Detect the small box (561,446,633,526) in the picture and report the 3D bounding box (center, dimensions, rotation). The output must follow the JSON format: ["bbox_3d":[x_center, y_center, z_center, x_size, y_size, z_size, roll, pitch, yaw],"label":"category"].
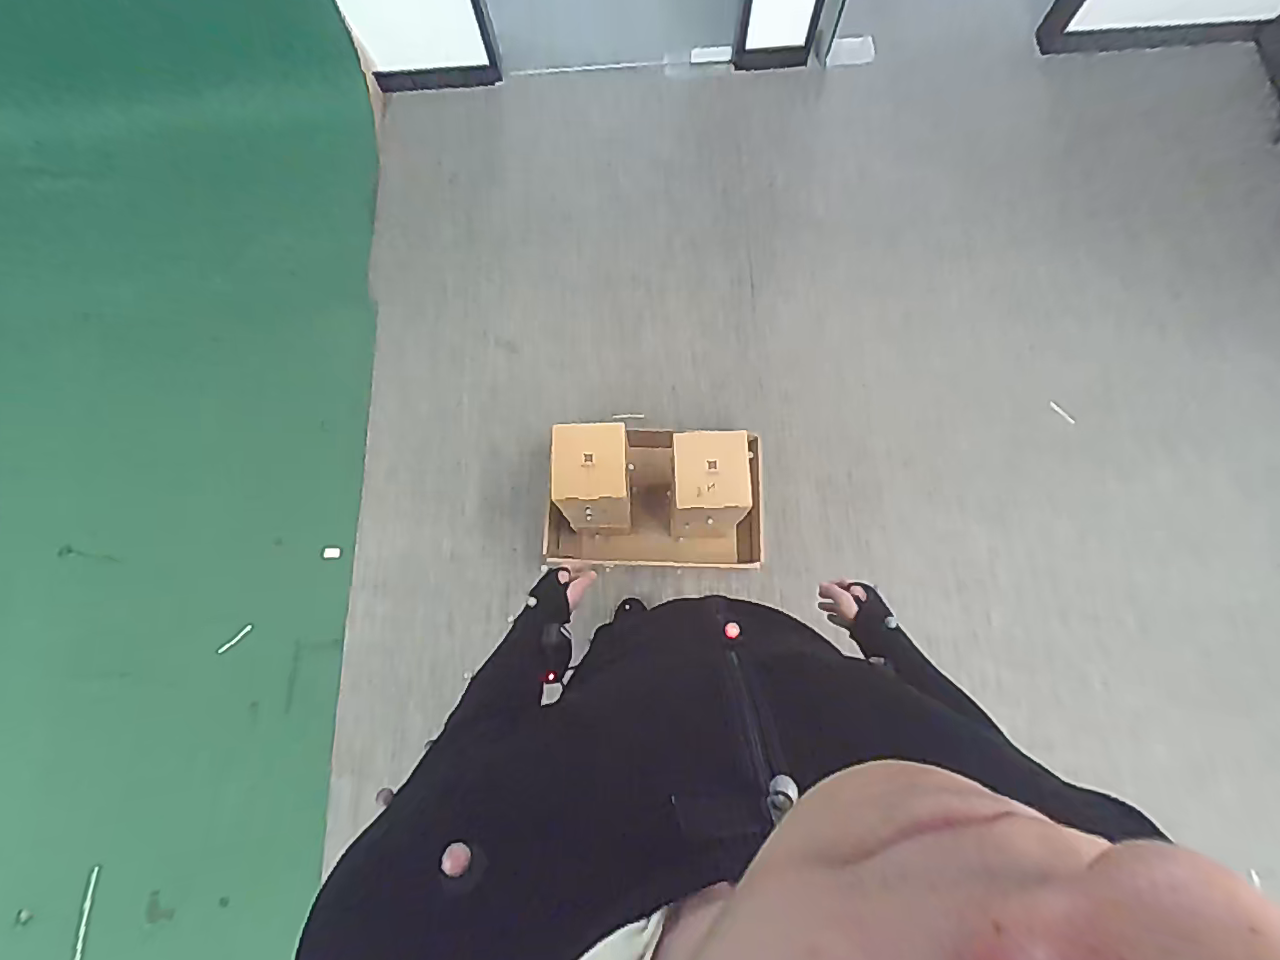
[{"bbox_3d":[-0.107,0.017,1.418,0.168,0.176,0.179,-1,74,3],"label":"small box"}]

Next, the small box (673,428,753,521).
[{"bbox_3d":[0.160,-0.008,1.244,0.168,0.176,0.179,-2,75,3],"label":"small box"}]

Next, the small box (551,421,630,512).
[{"bbox_3d":[-0.111,-0.027,1.261,0.168,0.176,0.179,-2,76,1],"label":"small box"}]
